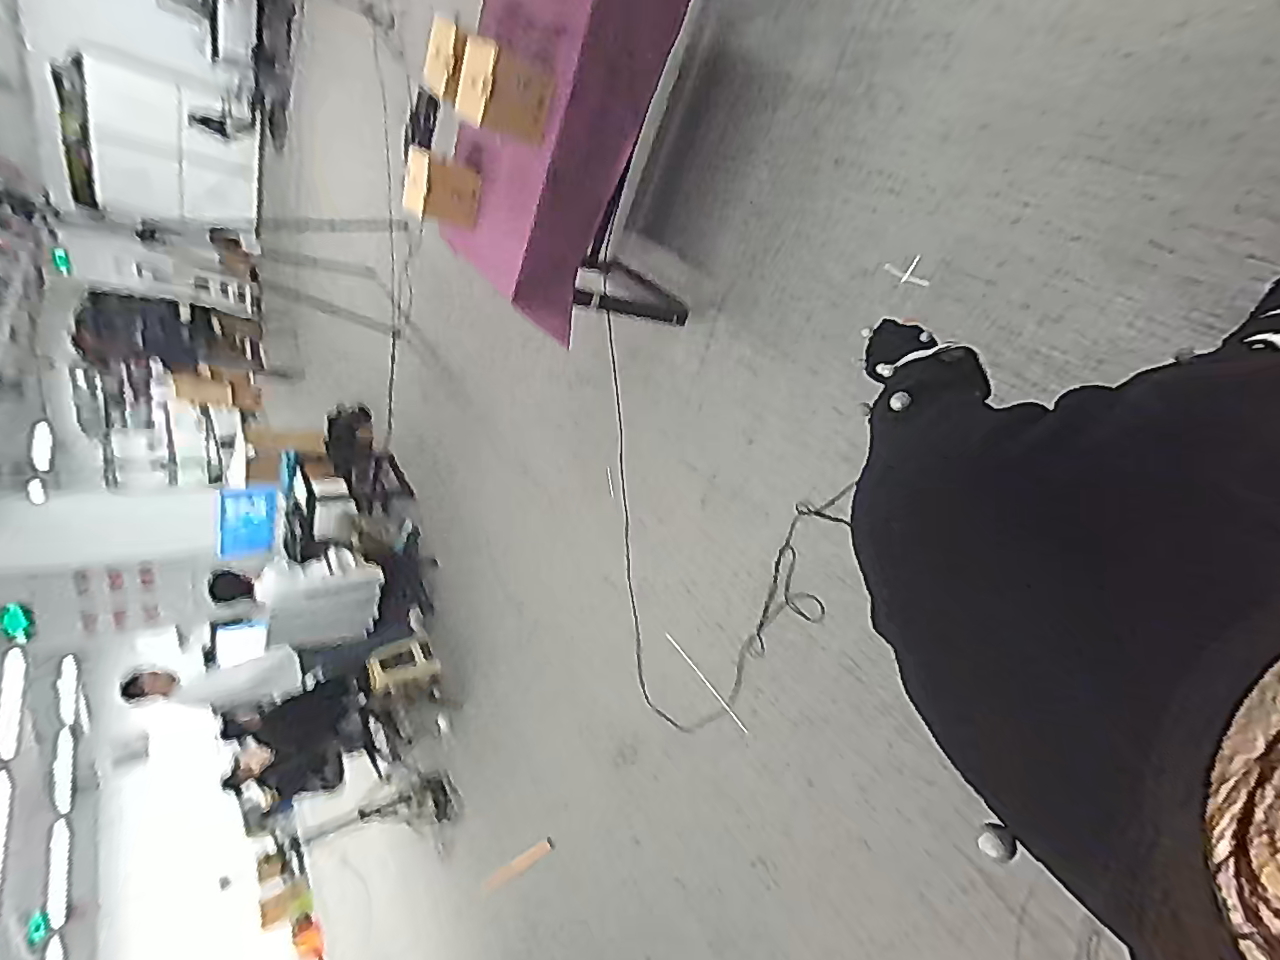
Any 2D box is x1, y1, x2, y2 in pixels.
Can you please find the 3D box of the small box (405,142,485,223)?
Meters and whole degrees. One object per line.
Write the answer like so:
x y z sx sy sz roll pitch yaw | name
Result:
-0.602 -0.914 1.671 0.179 0.176 0.168 42 121 36 | small box

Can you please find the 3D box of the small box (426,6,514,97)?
-0.470 -1.164 1.507 0.179 0.176 0.168 53 129 30 | small box

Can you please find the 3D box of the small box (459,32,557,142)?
-0.334 -0.991 1.374 0.179 0.176 0.168 48 125 35 | small box
